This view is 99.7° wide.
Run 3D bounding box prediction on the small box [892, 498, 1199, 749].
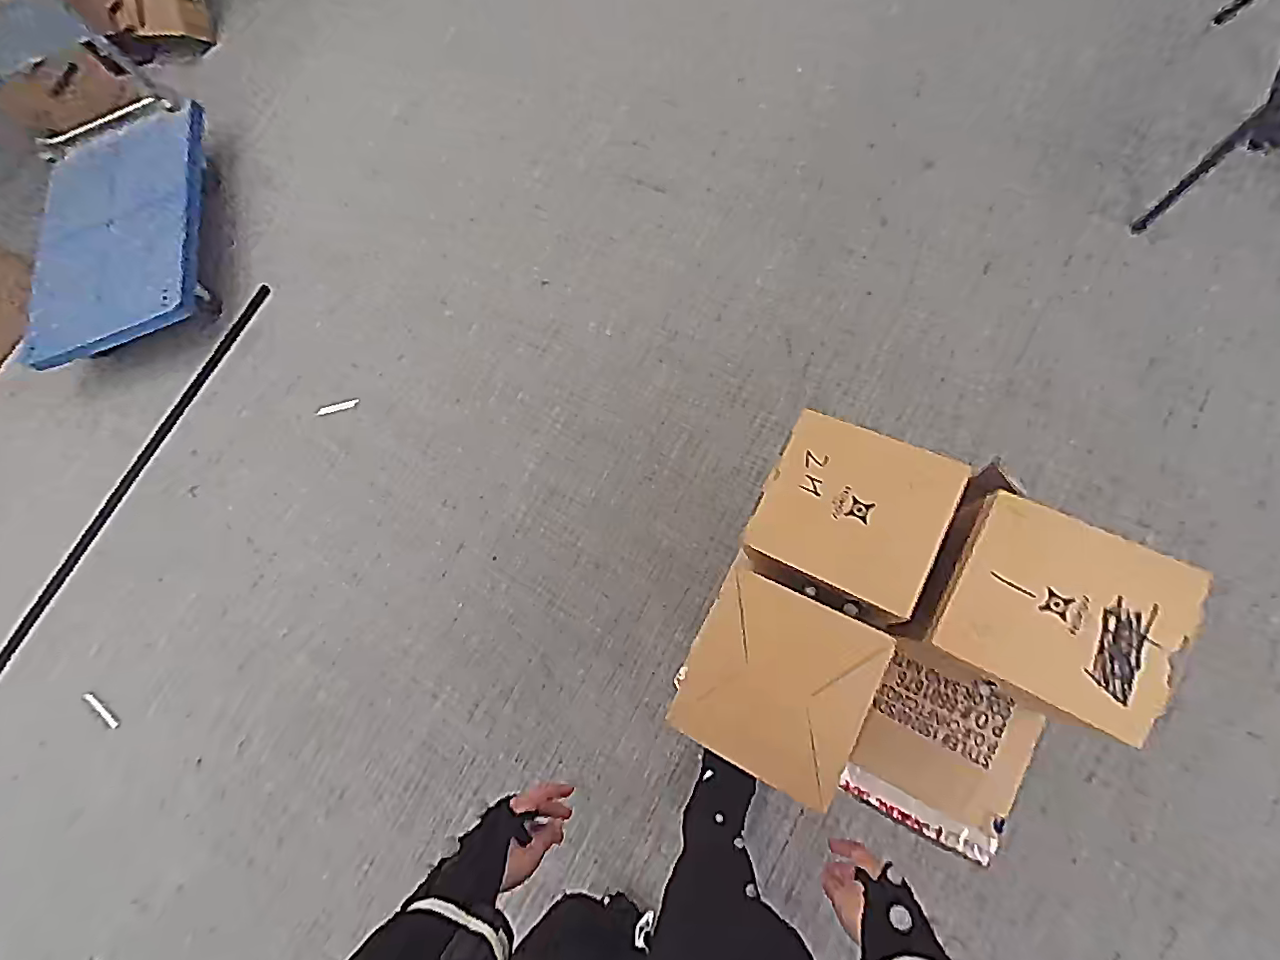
[{"bbox_3d":[0.395,0.140,0.565,0.179,0.176,0.168,26,83,17],"label":"small box"}]
